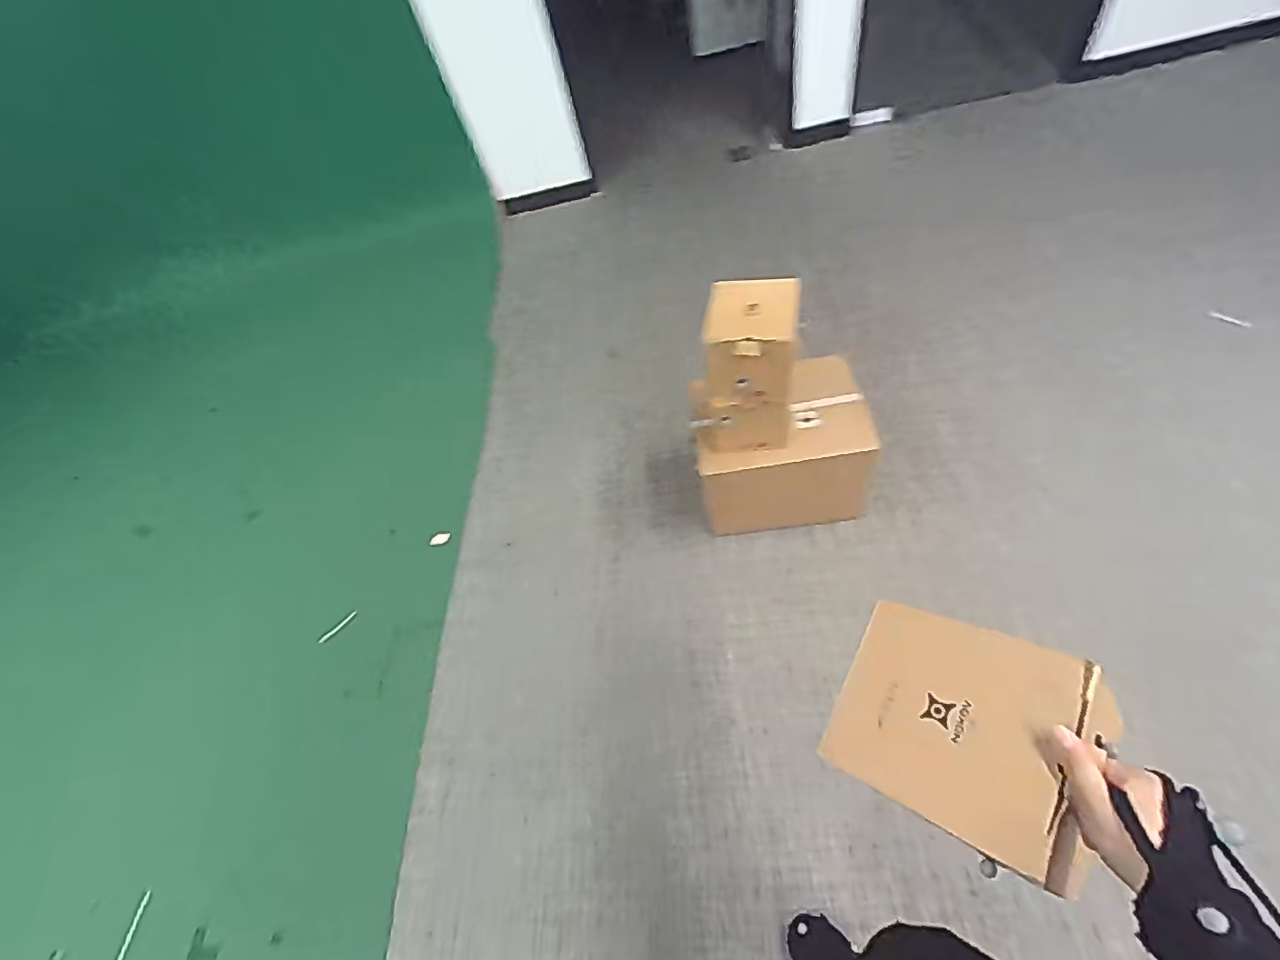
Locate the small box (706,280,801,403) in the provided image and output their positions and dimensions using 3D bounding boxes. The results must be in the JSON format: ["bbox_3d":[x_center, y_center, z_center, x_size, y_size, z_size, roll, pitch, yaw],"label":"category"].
[{"bbox_3d":[0.232,-0.279,1.096,0.168,0.176,0.179,3,58,16],"label":"small box"}]

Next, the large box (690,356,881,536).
[{"bbox_3d":[0.361,-0.078,1.430,0.408,0.320,0.320,-8,56,7],"label":"large box"}]

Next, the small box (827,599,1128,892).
[{"bbox_3d":[0.314,0.238,0.497,0.179,0.176,0.168,11,65,52],"label":"small box"}]
